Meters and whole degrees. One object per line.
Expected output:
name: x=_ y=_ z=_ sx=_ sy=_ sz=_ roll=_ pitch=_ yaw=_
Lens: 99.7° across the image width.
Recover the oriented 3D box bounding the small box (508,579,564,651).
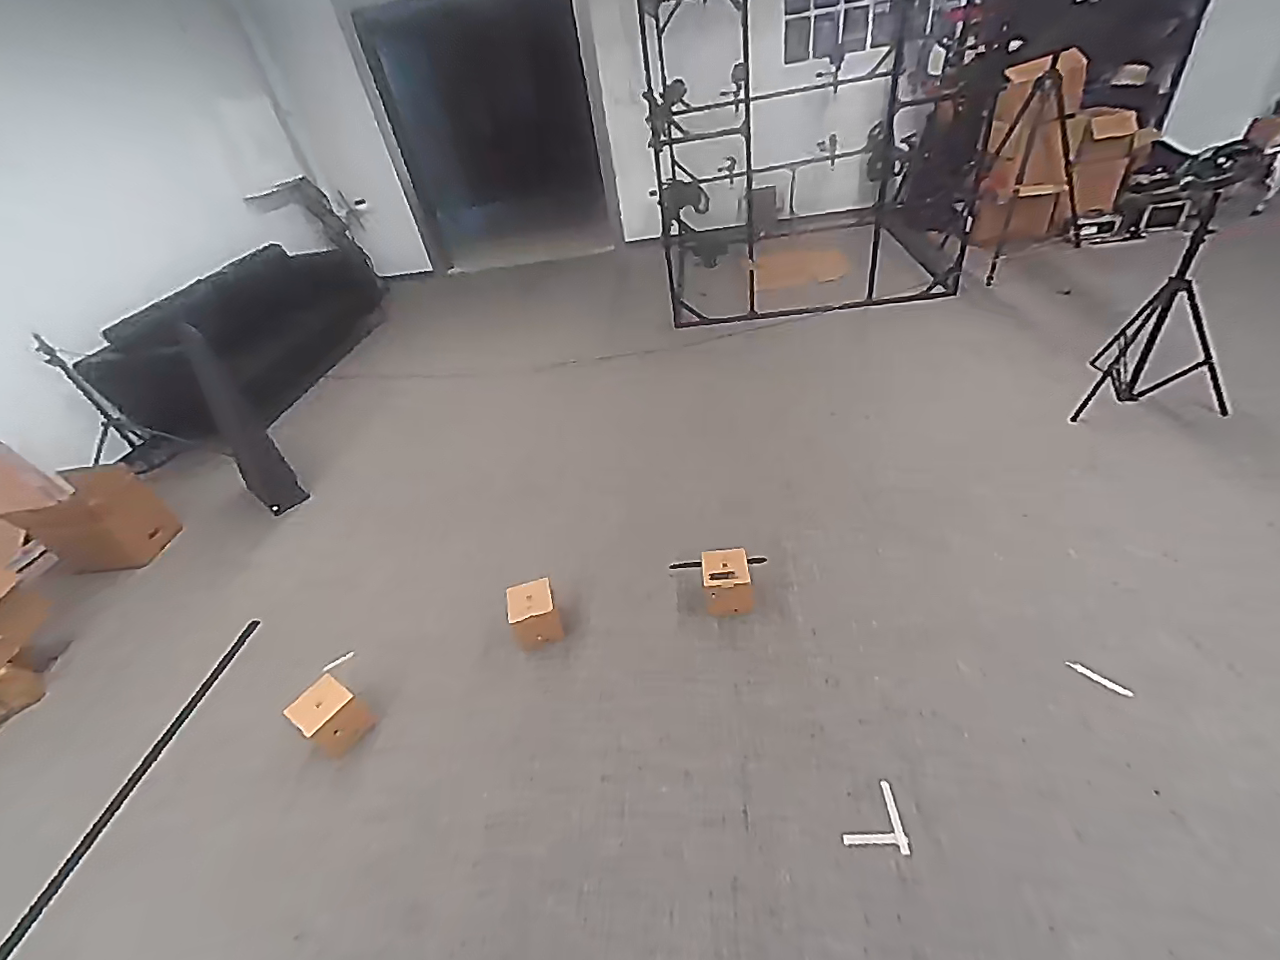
small box: x=-0.394 y=0.511 z=2.046 sx=0.168 sy=0.176 sz=0.179 roll=-16 pitch=37 yaw=-6

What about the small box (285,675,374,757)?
small box: x=-1.042 y=0.802 z=1.826 sx=0.179 sy=0.176 sz=0.168 roll=17 pitch=46 yaw=32
